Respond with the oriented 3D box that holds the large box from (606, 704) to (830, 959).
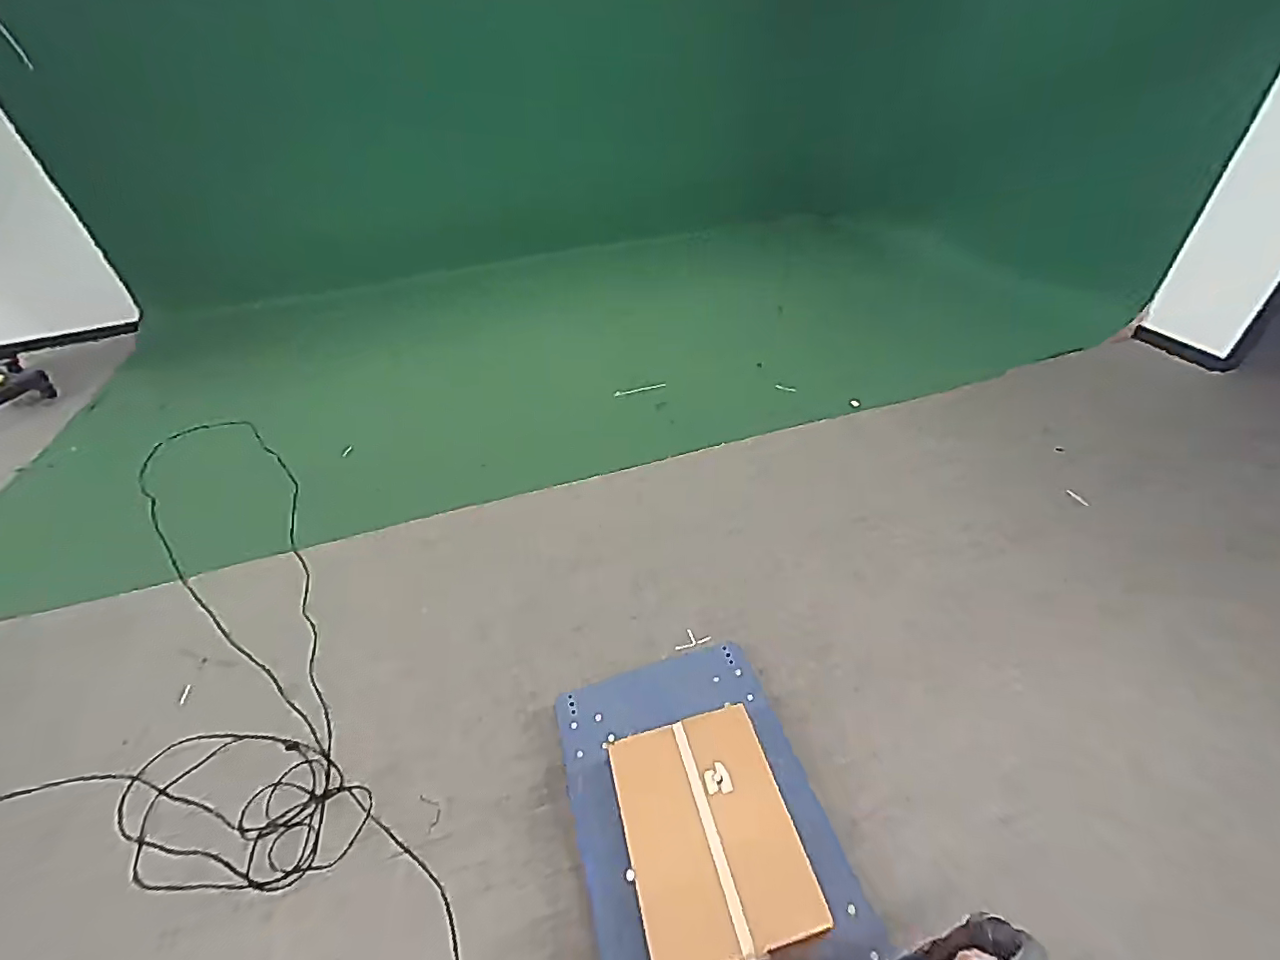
[{"bbox_3d":[0.137,0.760,1.118,0.320,0.320,0.408,-12,41,-8],"label":"large box"}]
